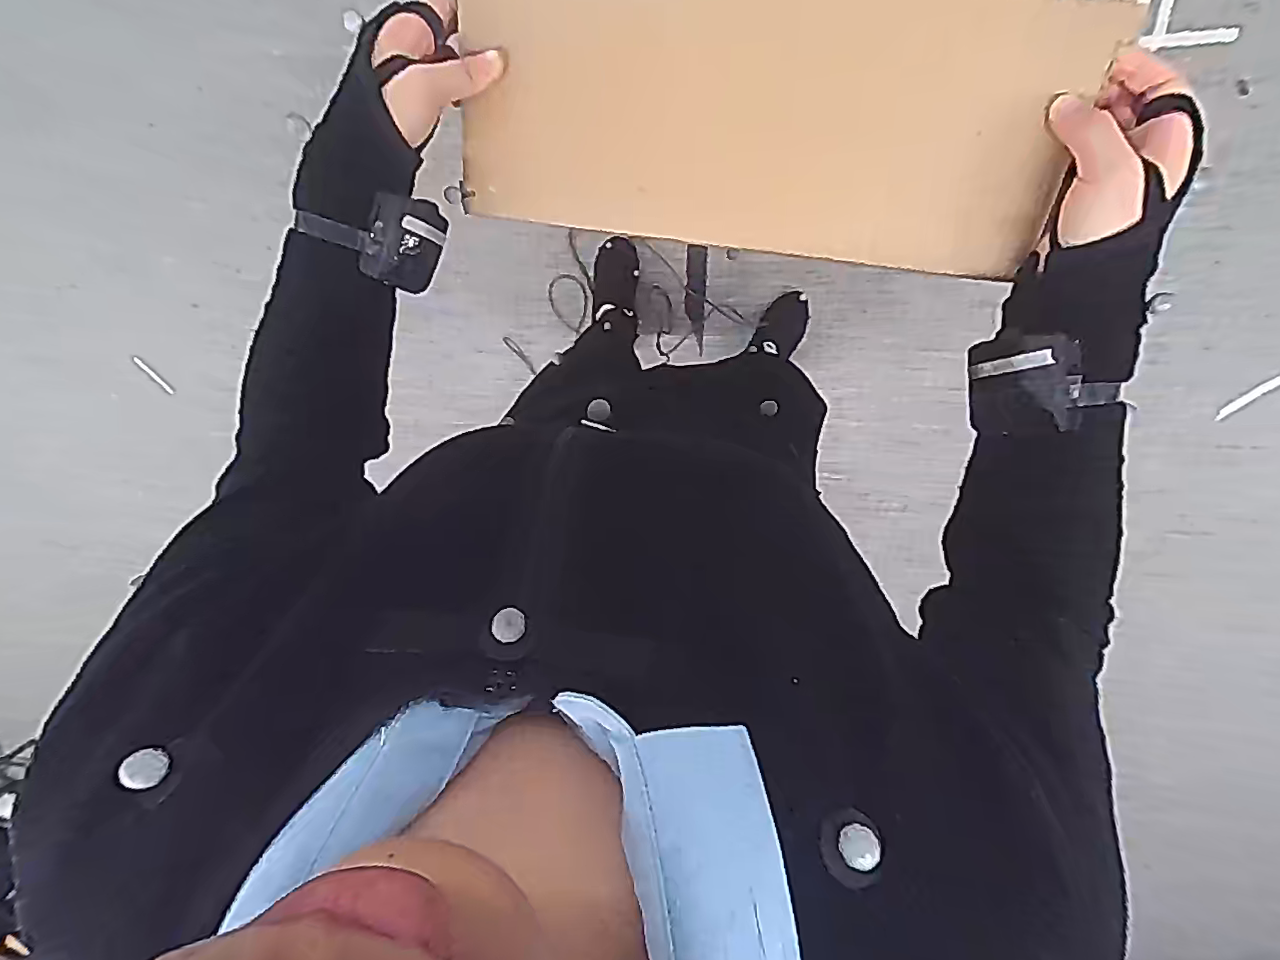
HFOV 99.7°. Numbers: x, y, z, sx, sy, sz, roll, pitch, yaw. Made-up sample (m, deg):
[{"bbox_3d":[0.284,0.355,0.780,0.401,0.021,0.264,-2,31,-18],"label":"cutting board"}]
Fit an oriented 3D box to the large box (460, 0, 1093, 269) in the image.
[{"bbox_3d":[0.104,-0.377,0.469,0.408,0.320,0.320,11,116,9],"label":"large box"}]
